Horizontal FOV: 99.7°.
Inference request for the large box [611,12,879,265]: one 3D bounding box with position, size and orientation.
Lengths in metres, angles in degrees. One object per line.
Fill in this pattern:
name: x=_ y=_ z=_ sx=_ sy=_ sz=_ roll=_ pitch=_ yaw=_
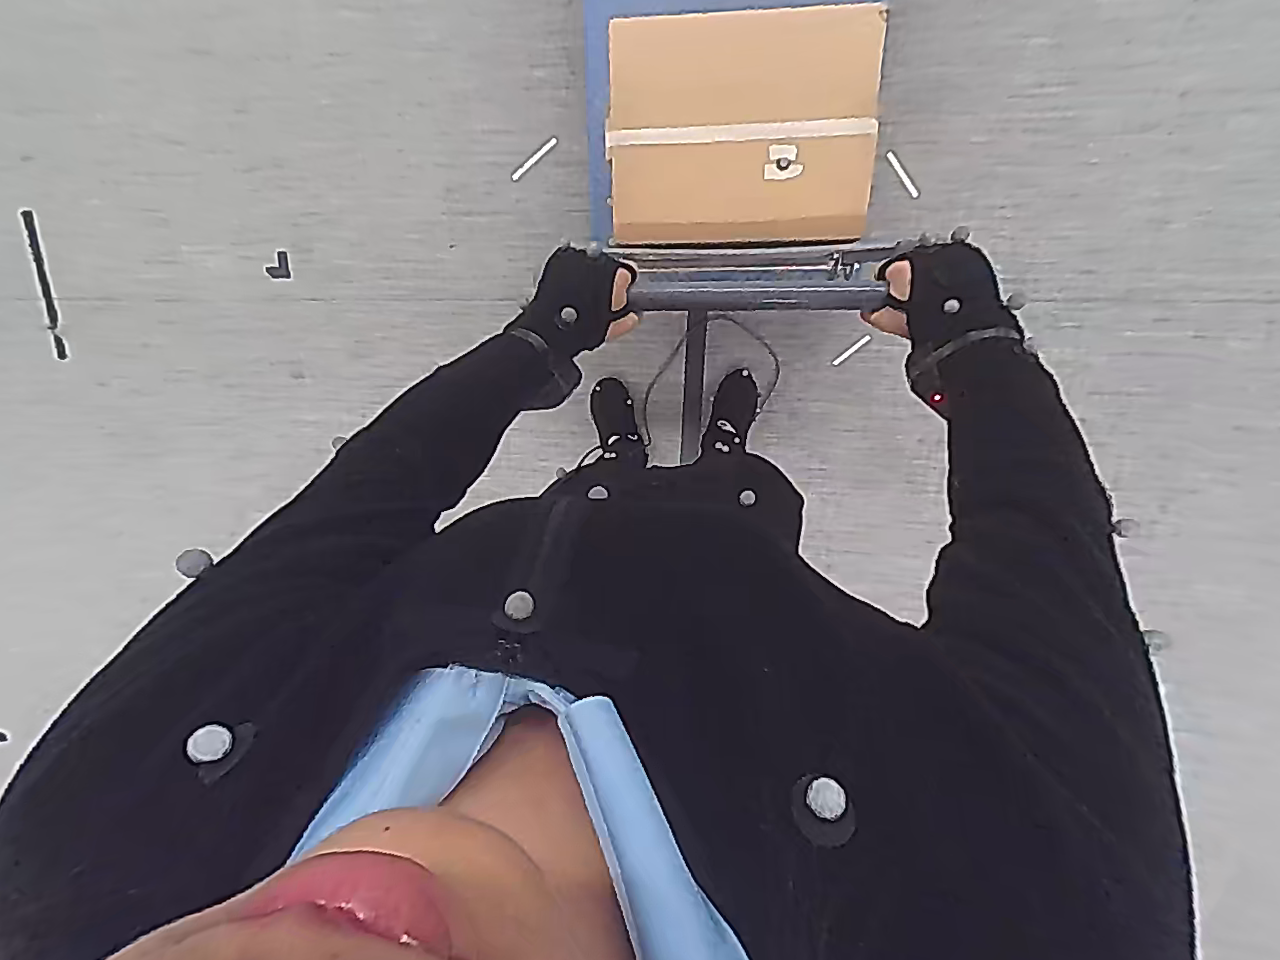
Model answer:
large box: x=0.168 y=-0.580 z=0.992 sx=0.408 sy=0.320 sz=0.320 roll=0 pitch=108 yaw=5
